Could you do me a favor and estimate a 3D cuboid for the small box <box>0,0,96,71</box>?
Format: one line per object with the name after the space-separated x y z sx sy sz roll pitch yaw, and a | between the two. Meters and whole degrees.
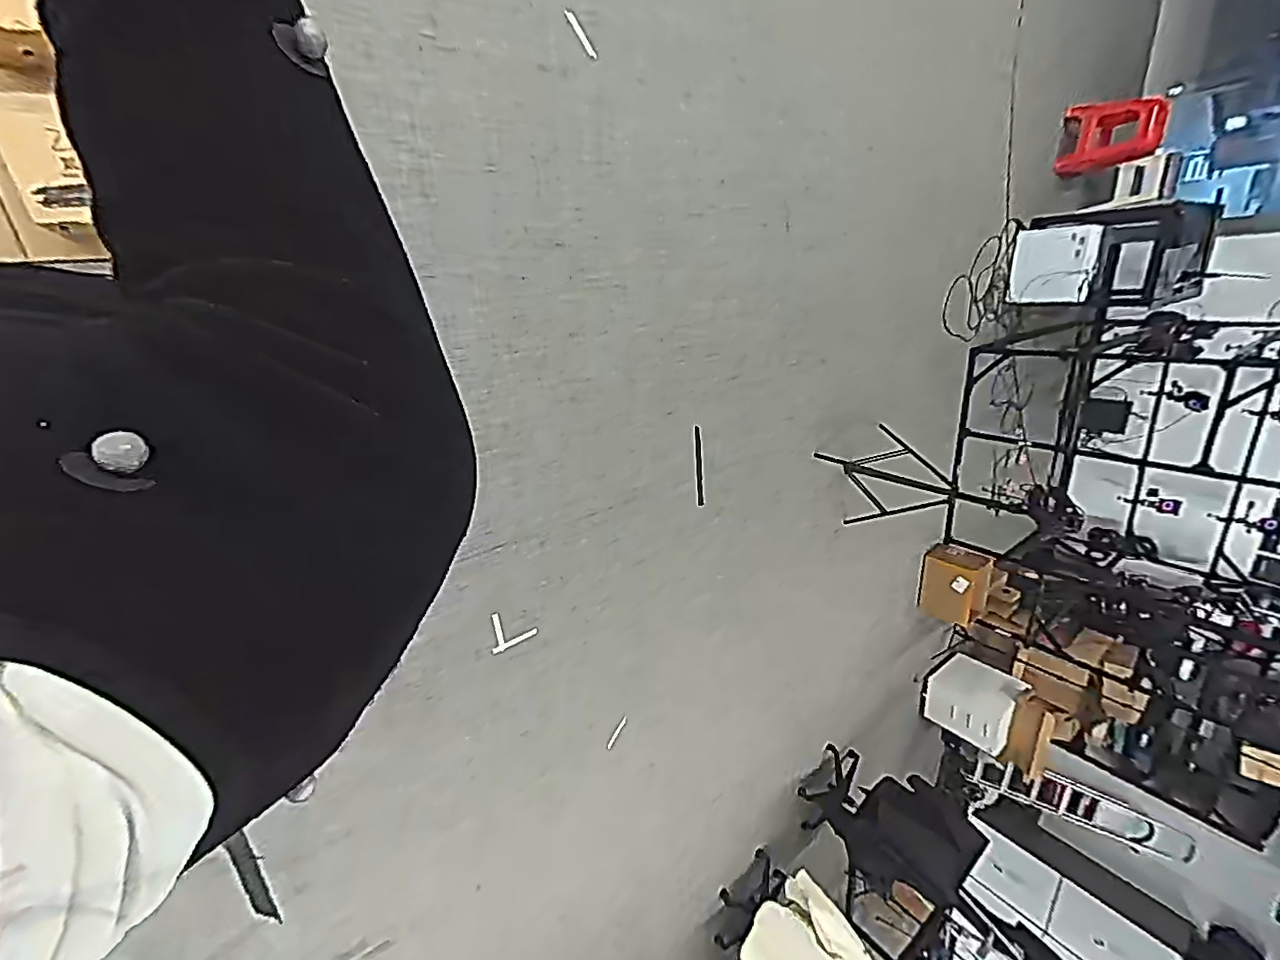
-1.089 -0.838 0.925 0.168 0.176 0.179 -23 117 -31 | small box
